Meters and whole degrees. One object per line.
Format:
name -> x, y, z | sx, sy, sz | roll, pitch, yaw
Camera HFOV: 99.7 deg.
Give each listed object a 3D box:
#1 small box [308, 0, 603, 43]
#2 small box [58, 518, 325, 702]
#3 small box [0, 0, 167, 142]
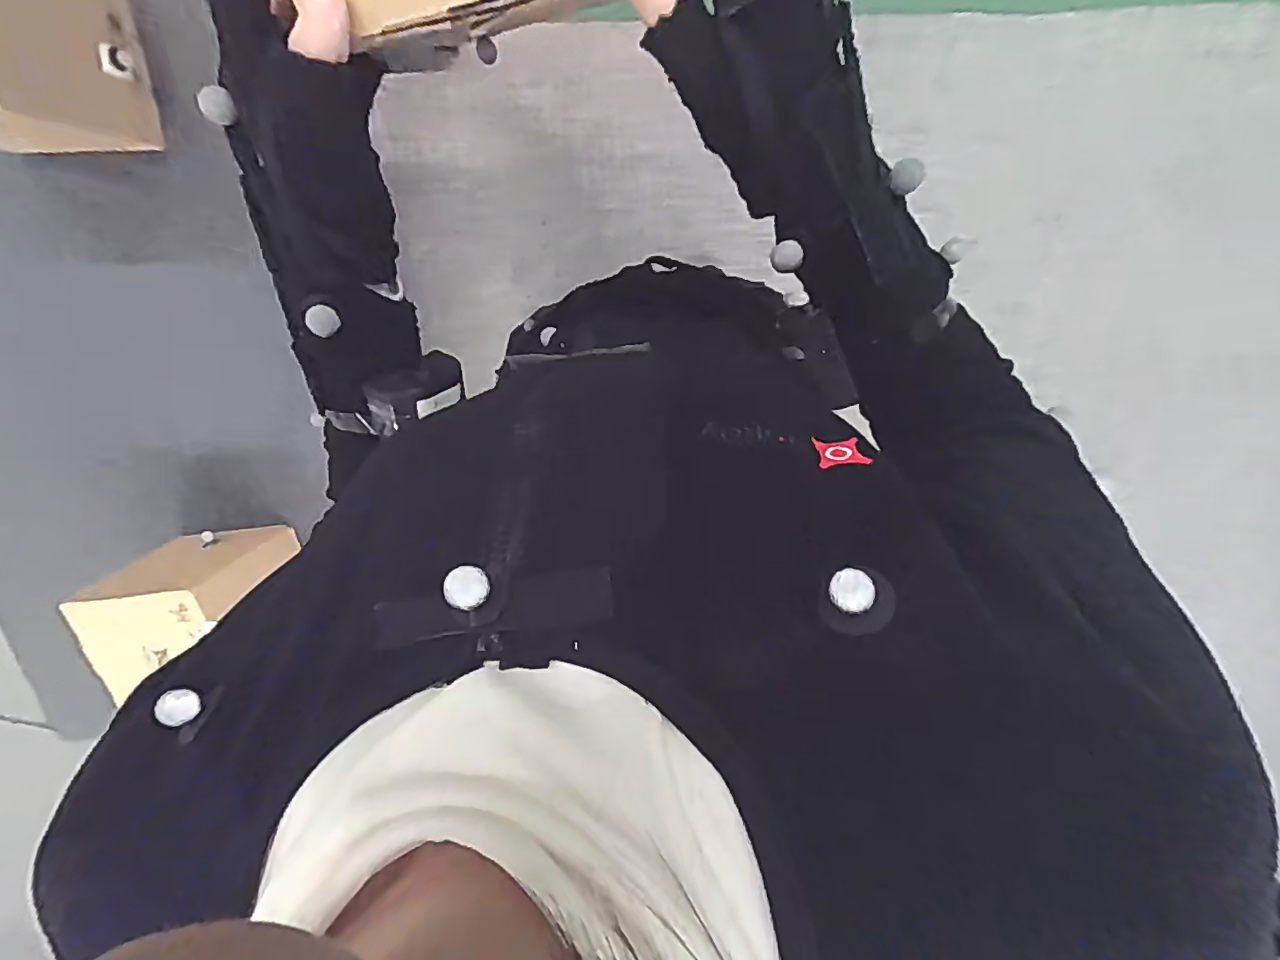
small box -> -0.061, -0.308, 0.222 | 0.168, 0.176, 0.179 | -5, 128, 9
small box -> -0.562, 0.163, 0.706 | 0.179, 0.176, 0.168 | -6, 112, 8
small box -> -0.596, -0.413, 0.484 | 0.179, 0.176, 0.168 | 0, 113, 2
